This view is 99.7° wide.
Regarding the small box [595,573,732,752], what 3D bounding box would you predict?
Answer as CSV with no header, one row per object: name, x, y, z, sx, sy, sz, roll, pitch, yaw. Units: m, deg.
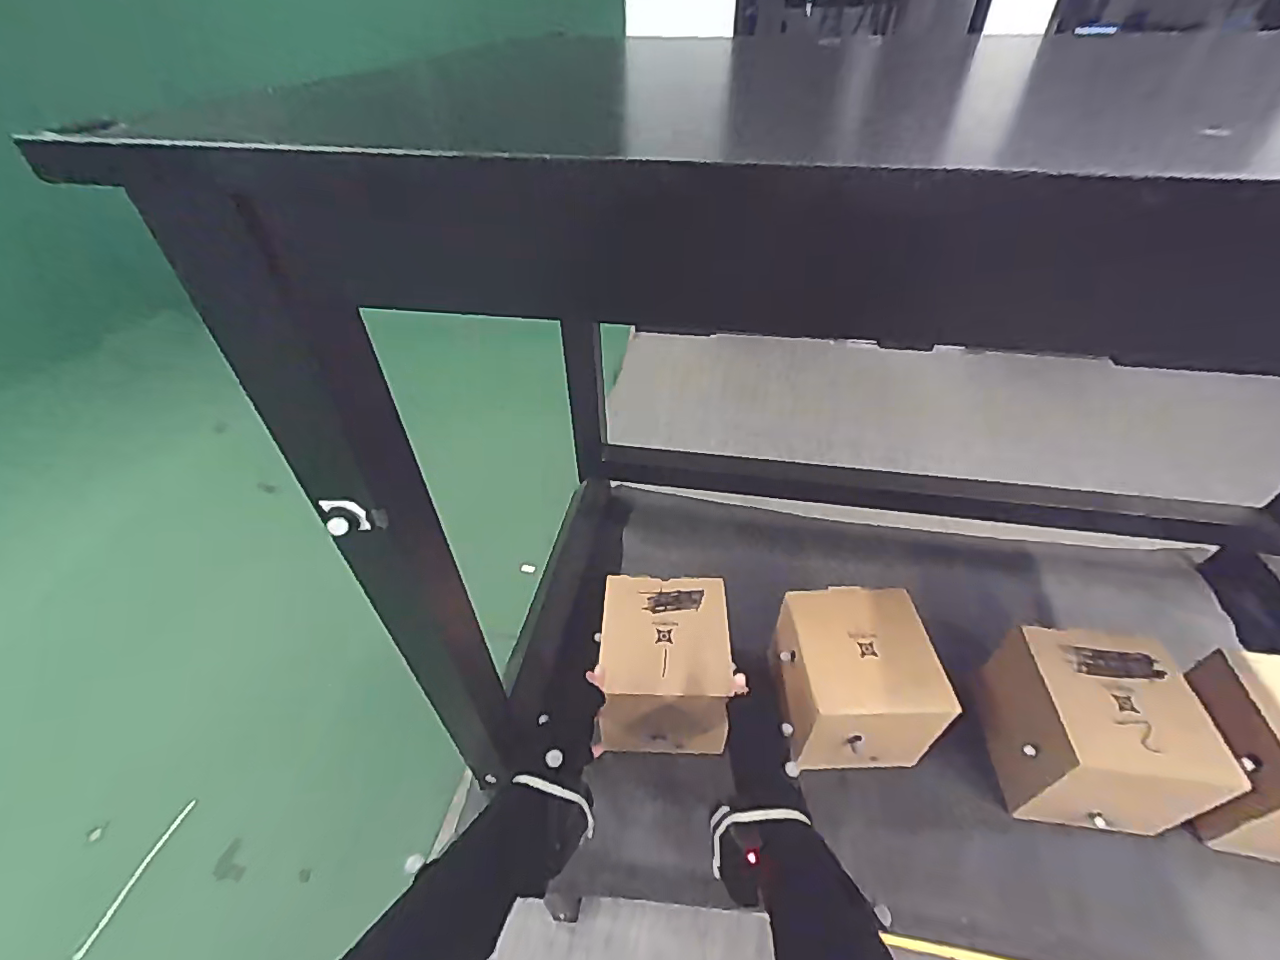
small box,0.032,0.252,0.752,0.168,0.176,0.179,1,42,2
